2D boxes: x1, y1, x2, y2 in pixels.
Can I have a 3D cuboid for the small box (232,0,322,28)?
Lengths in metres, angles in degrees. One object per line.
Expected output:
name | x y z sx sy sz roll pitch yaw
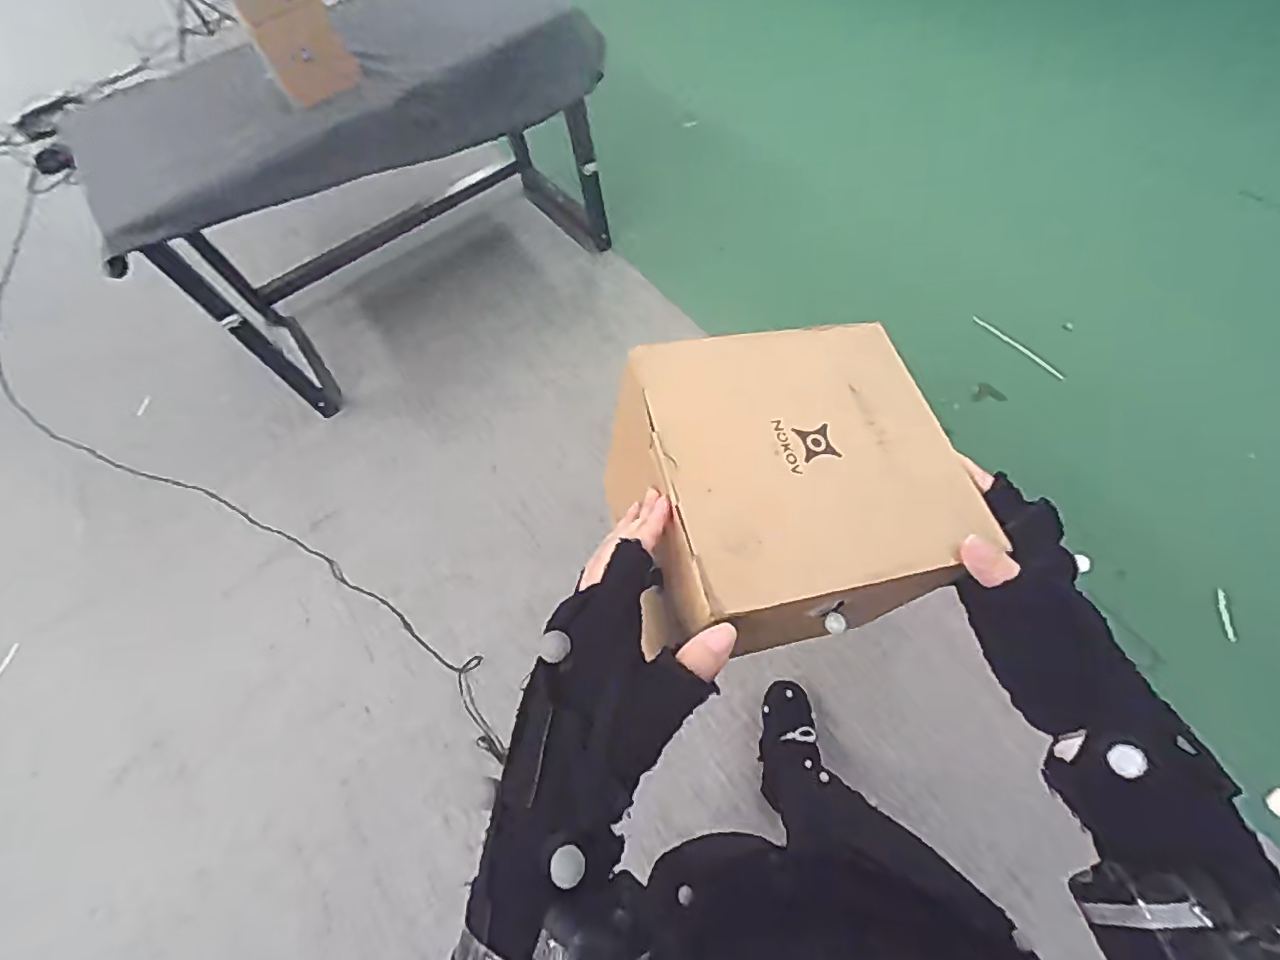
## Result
small box | -0.802 -1.084 1.123 0.168 0.176 0.179 -34 64 -11

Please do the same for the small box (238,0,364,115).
small box | -0.778 -1.002 1.262 0.179 0.176 0.168 -34 63 -10

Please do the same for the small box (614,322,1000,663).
small box | 0.084 0.016 0.377 0.179 0.176 0.168 -9 64 -15
